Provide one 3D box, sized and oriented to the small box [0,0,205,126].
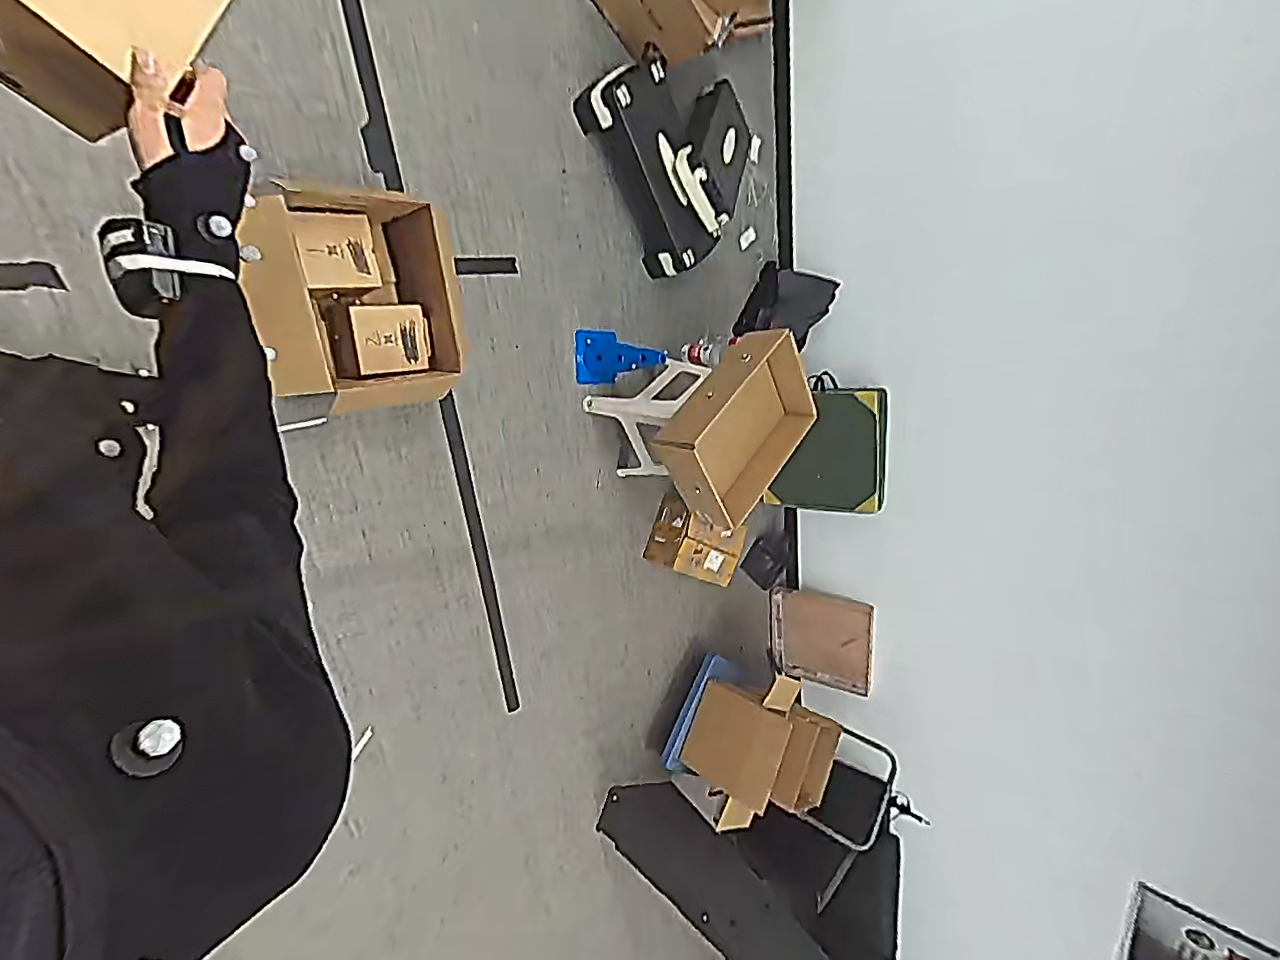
[{"bbox_3d":[-0.479,-0.423,0.426,0.168,0.176,0.179,37,66,-57],"label":"small box"}]
